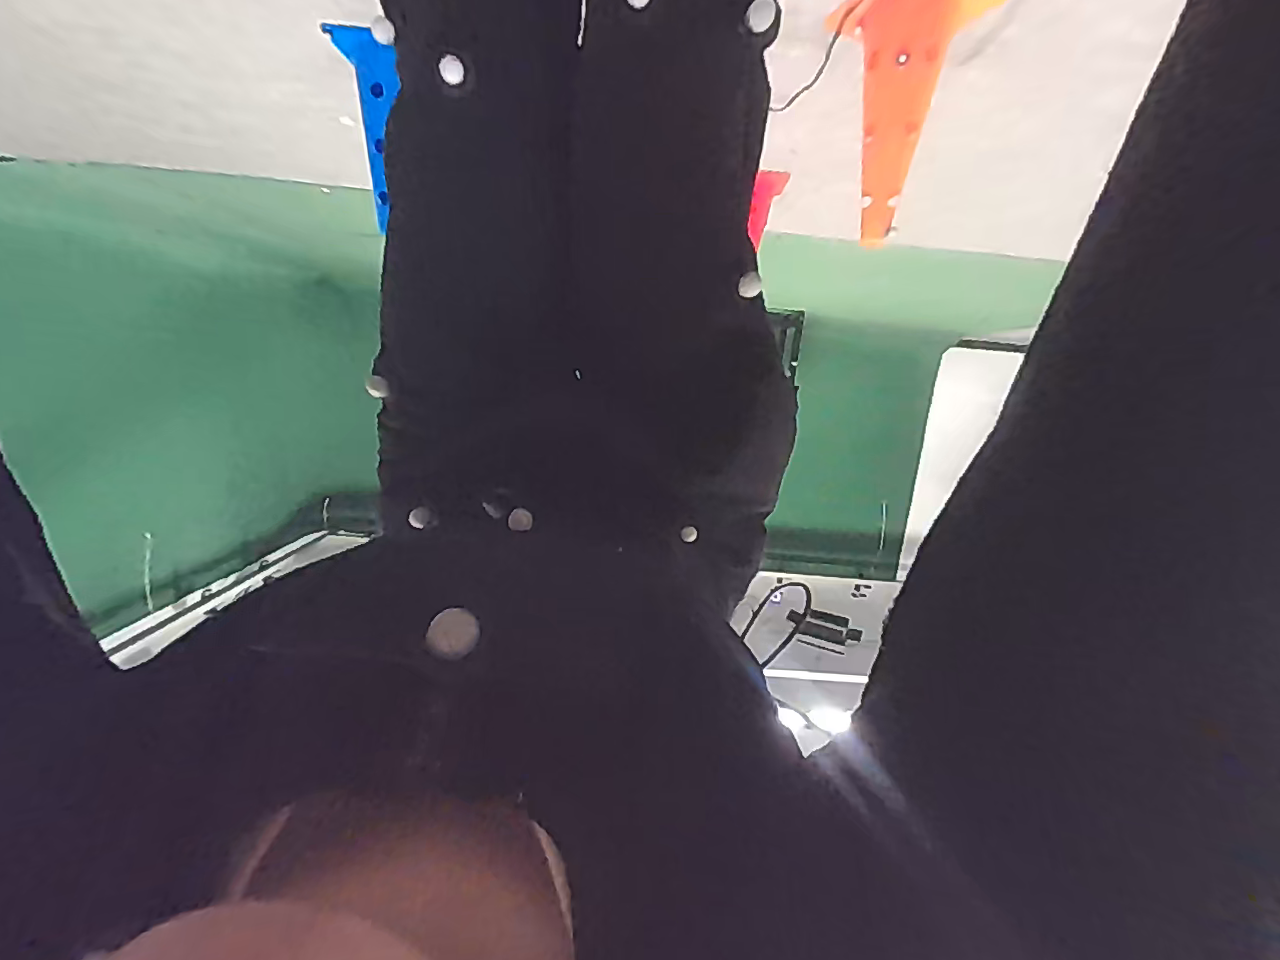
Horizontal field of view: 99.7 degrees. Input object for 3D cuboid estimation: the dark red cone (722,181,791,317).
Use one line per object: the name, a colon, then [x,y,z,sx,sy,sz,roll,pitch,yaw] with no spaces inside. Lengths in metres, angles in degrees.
dark red cone: [0.340,-0.718,1.694,0.202,0.394,0.201,6,-166,6]

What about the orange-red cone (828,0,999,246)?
orange-red cone: [0.410,-0.572,0.874,0.199,0.360,0.198,0,-167,-21]

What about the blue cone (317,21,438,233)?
blue cone: [-0.559,-0.740,1.174,0.192,0.380,0.193,5,-169,-2]
